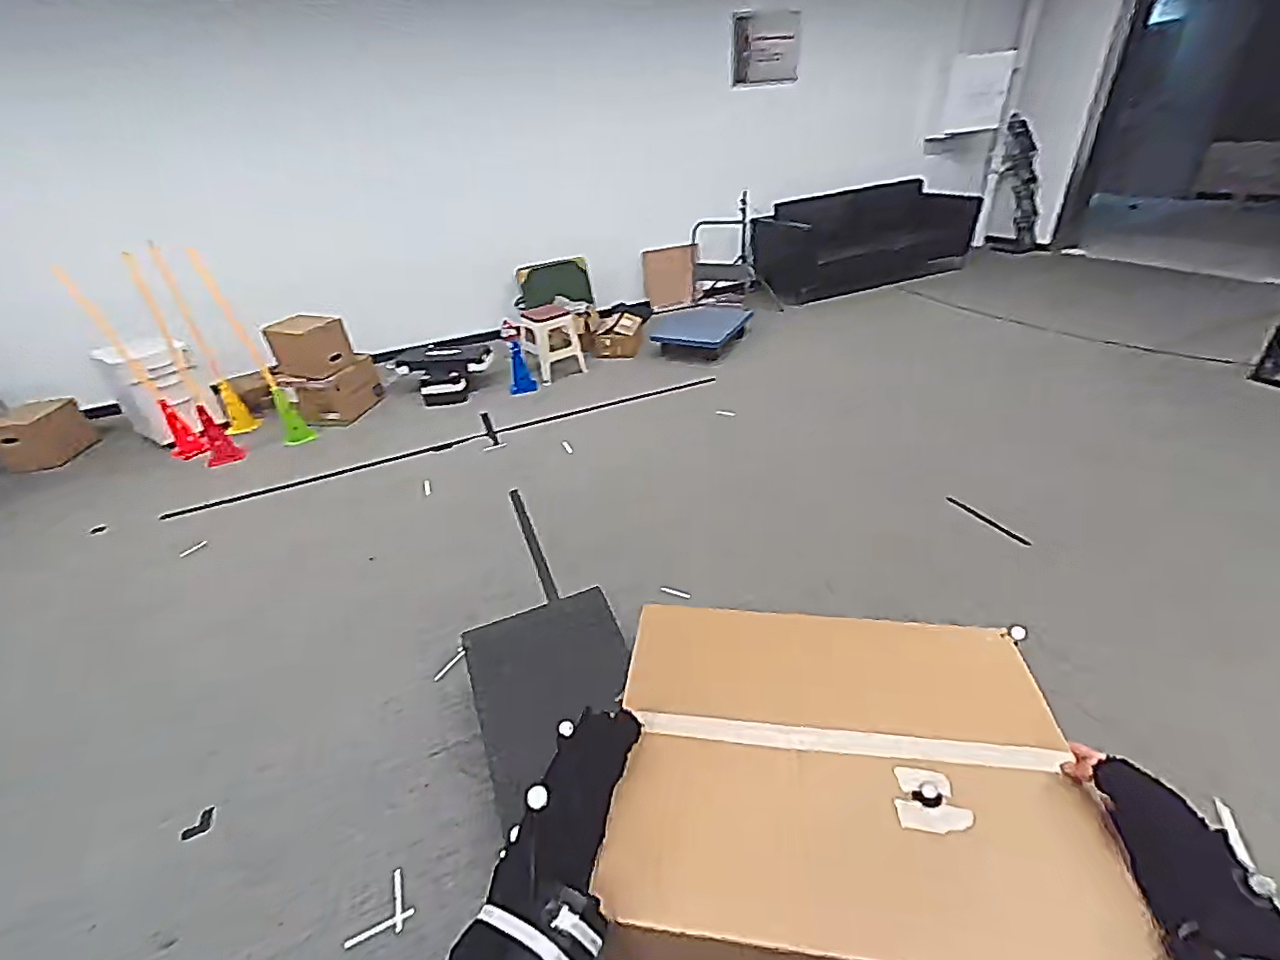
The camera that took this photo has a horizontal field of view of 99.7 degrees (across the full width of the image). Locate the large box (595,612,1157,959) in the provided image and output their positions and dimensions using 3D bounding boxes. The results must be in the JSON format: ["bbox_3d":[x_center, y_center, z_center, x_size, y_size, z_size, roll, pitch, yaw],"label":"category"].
[{"bbox_3d":[0.185,0.374,0.595,0.408,0.320,0.320,1,34,9],"label":"large box"}]
